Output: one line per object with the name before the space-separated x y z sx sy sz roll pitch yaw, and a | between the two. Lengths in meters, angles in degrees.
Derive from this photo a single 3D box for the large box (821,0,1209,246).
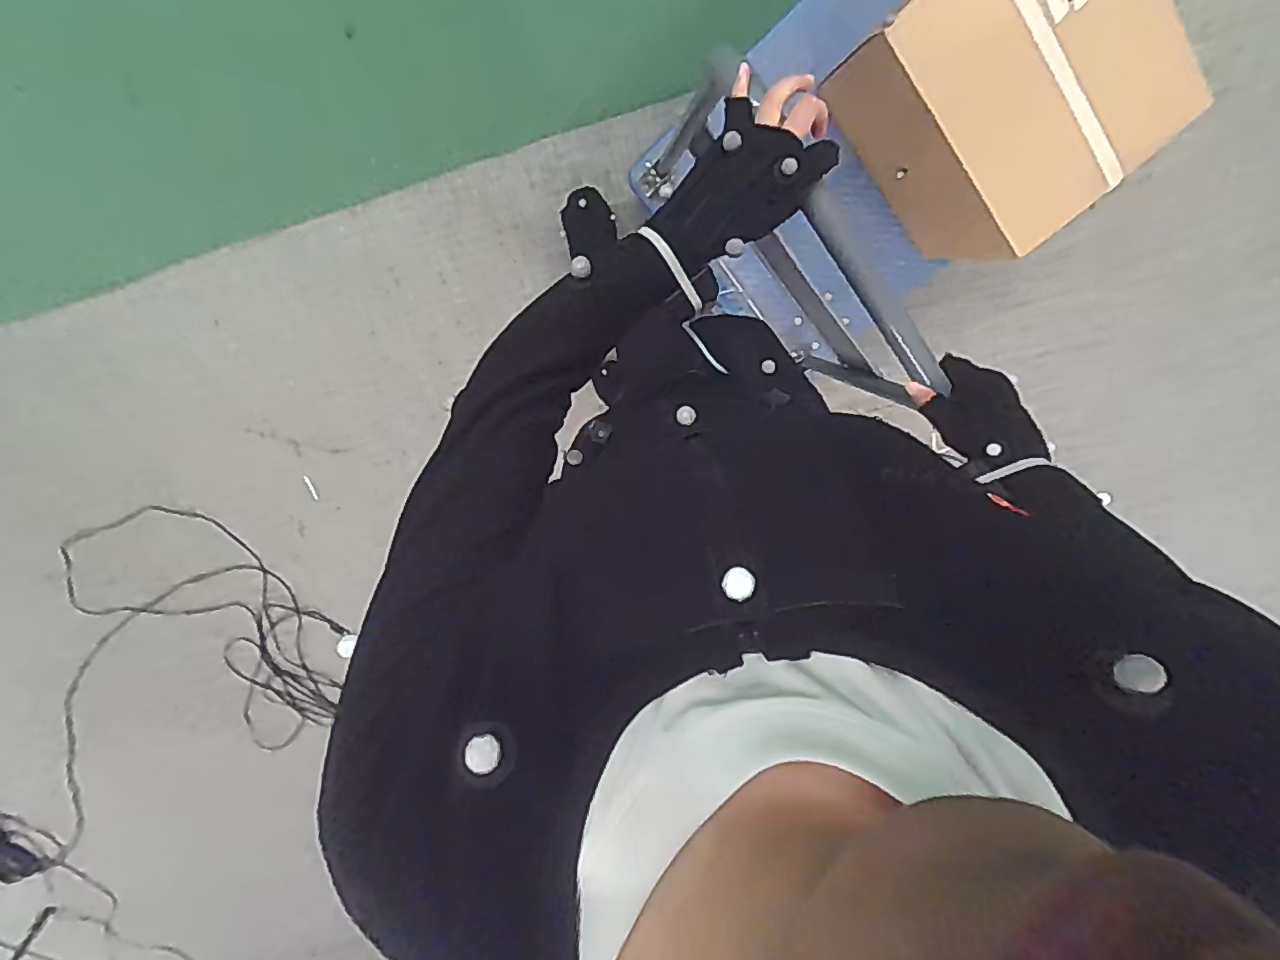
large box | 0.581 -0.658 0.906 0.320 0.320 0.408 -41 107 15
